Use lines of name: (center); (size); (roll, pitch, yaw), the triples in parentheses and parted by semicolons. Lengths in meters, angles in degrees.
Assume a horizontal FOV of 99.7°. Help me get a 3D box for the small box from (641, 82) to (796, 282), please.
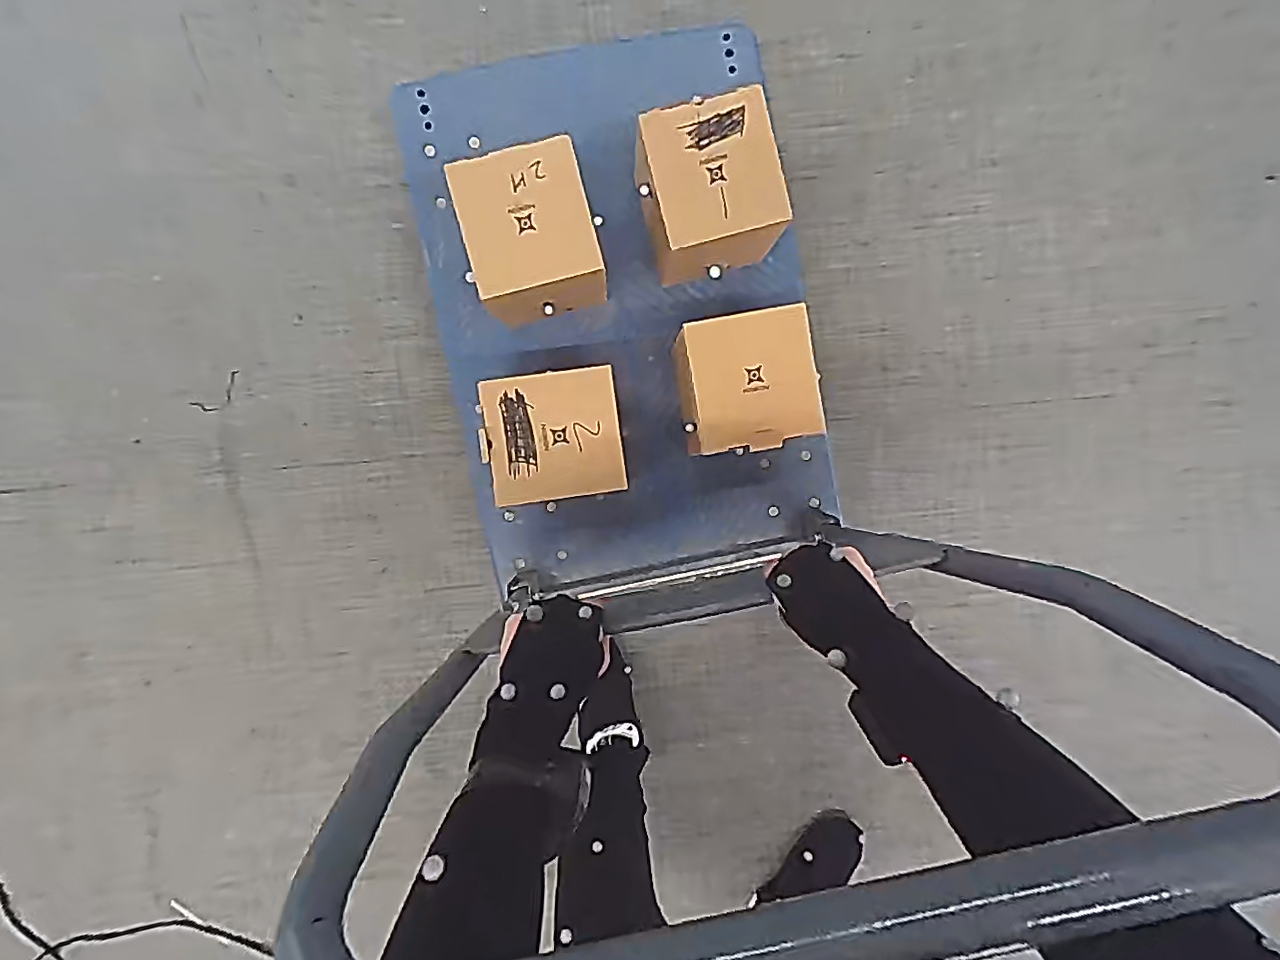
small box: (0.099, -0.405, 0.764); (0.168, 0.176, 0.179); (-14, 95, 0)

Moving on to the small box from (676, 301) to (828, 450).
small box: (0.151, -0.140, 0.783); (0.168, 0.176, 0.179); (-10, 94, -1)

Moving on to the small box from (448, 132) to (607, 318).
small box: (-0.144, -0.339, 0.761); (0.168, 0.176, 0.179); (-15, 94, -2)
